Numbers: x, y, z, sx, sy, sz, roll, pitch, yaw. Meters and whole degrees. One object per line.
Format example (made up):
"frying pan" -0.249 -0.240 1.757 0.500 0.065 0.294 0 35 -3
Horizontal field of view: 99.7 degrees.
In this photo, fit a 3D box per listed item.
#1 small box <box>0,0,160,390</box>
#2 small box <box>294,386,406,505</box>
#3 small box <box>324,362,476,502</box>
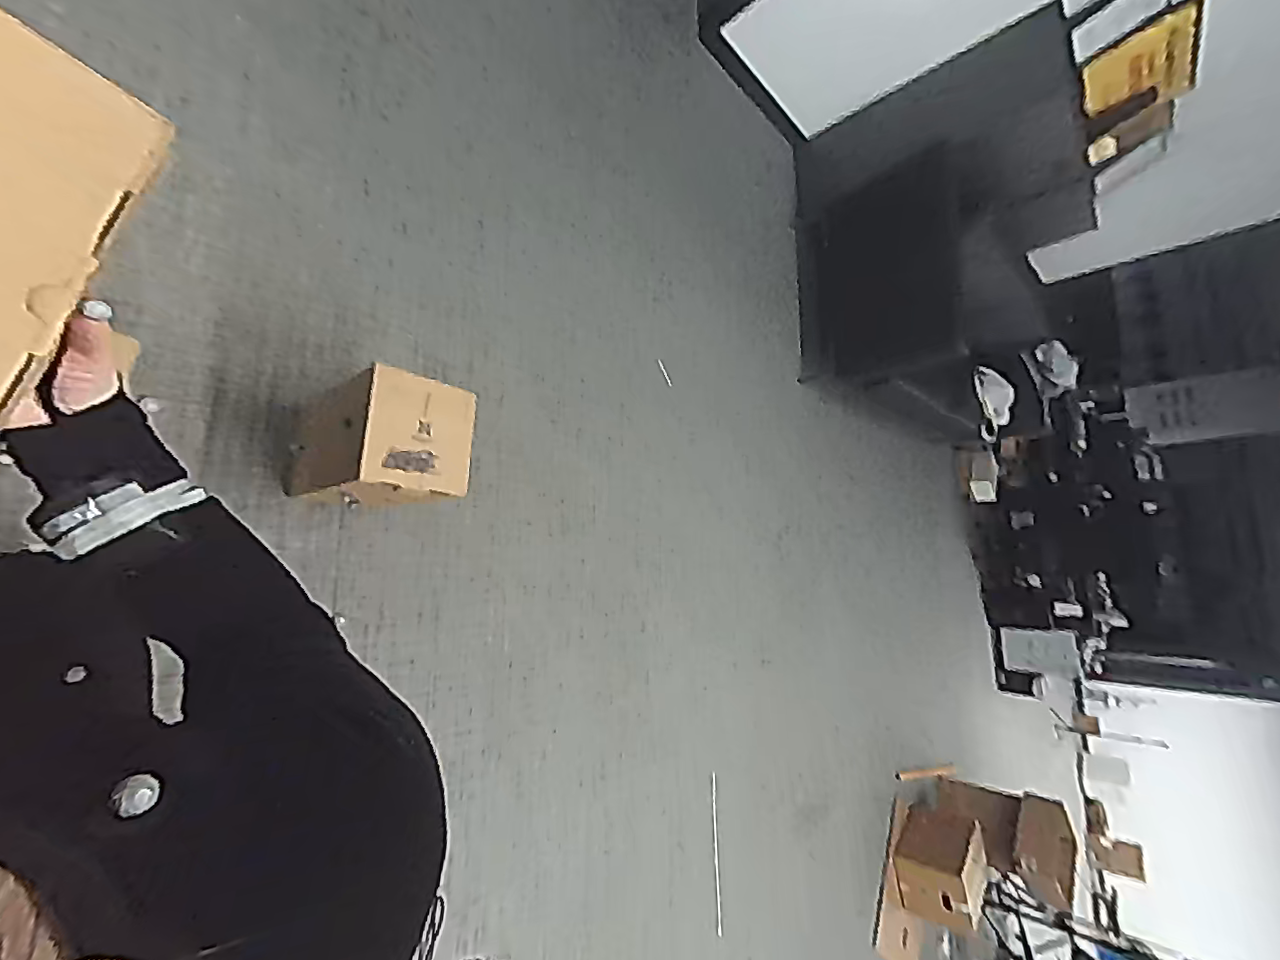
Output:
"small box" -0.323 -0.131 0.196 0.179 0.176 0.168 30 90 -47
"small box" -0.507 -0.050 0.983 0.168 0.176 0.179 12 75 -46
"small box" -0.388 -0.063 0.870 0.168 0.176 0.179 14 73 -46
